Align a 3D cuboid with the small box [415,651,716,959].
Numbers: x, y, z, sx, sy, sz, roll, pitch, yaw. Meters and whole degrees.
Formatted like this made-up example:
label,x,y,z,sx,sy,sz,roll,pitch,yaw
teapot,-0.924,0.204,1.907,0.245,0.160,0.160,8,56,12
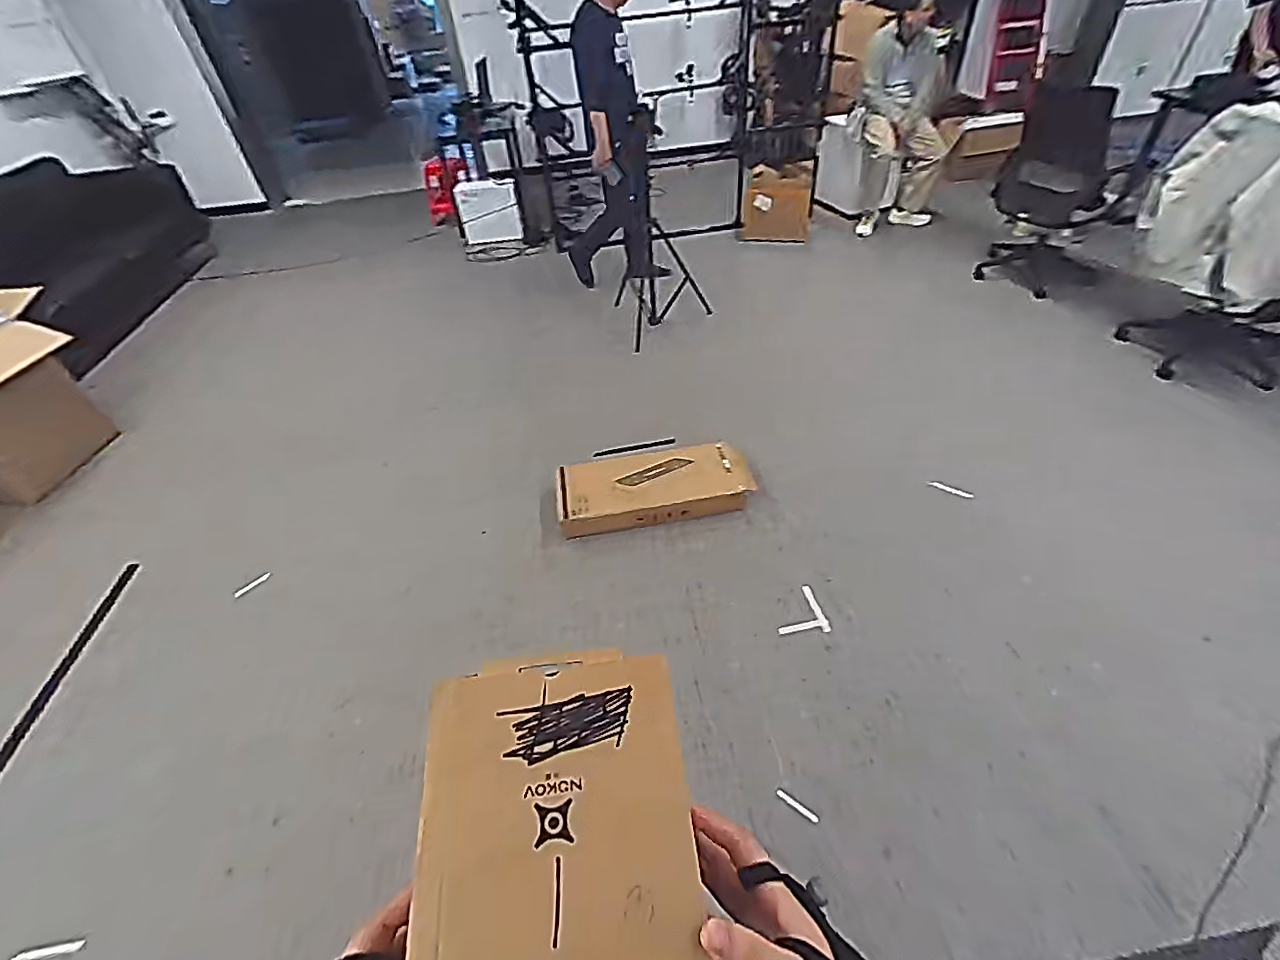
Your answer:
label,x,y,z,sx,sy,sz,roll,pitch,yaw
small box,-0.049,0.249,0.402,0.168,0.176,0.179,-6,53,-4
